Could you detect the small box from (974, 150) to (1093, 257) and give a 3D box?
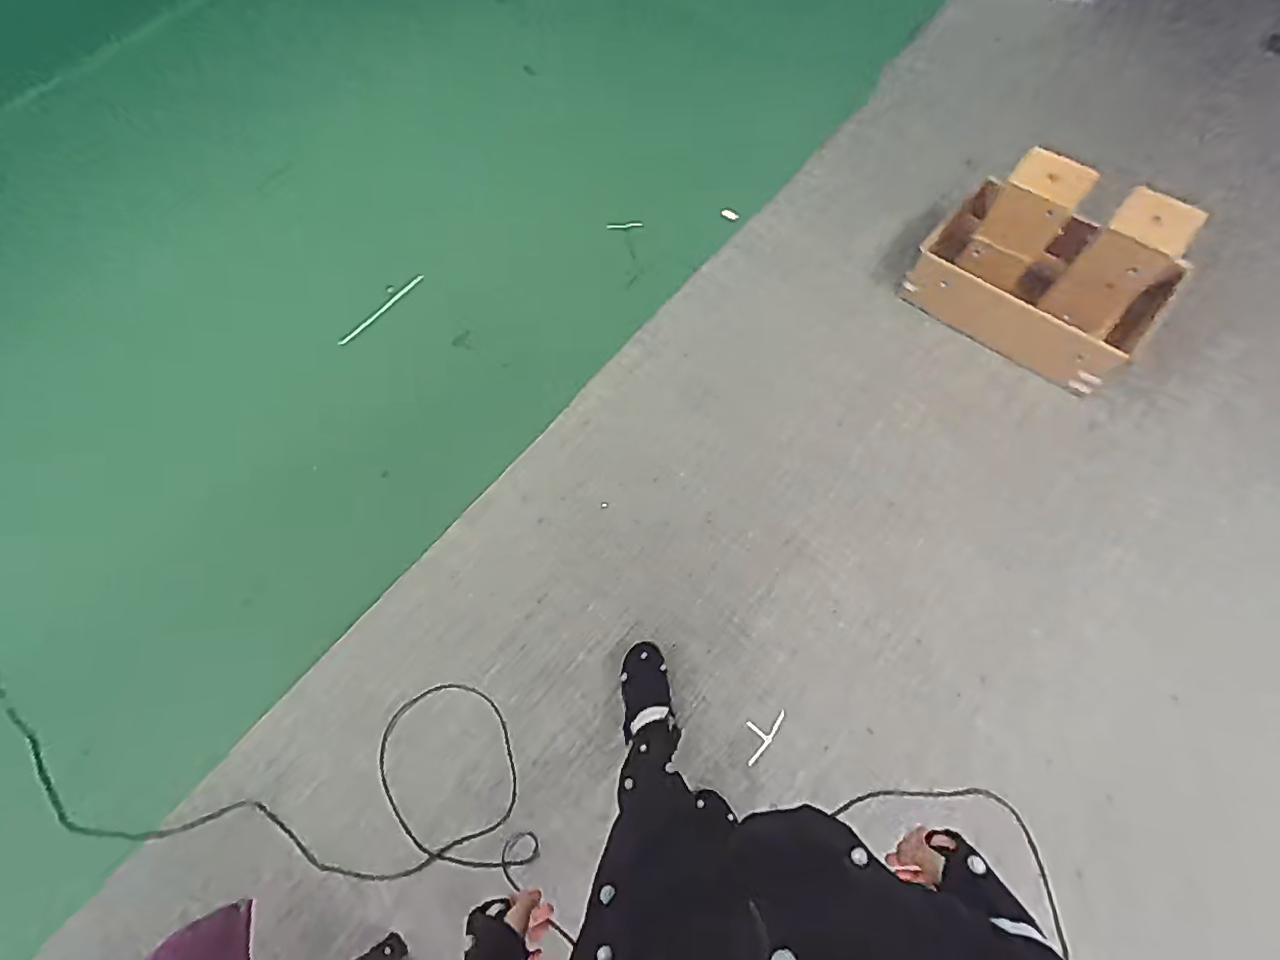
[{"bbox_3d":[1.061,-0.748,1.475,0.179,0.176,0.168,36,74,17],"label":"small box"}]

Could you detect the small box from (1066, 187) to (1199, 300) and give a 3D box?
[{"bbox_3d":[1.255,-0.603,1.395,0.168,0.176,0.179,39,75,19],"label":"small box"}]
